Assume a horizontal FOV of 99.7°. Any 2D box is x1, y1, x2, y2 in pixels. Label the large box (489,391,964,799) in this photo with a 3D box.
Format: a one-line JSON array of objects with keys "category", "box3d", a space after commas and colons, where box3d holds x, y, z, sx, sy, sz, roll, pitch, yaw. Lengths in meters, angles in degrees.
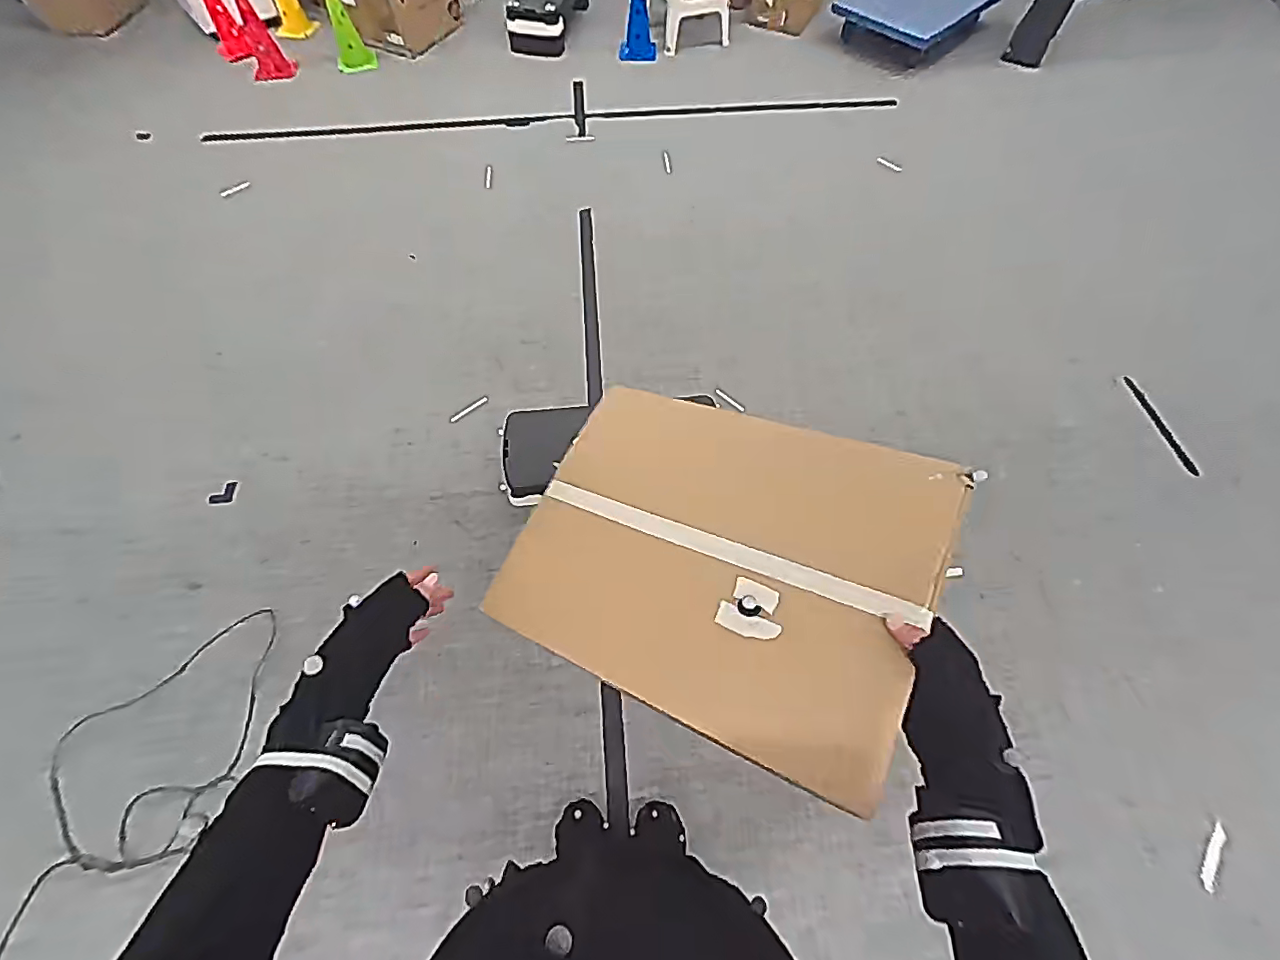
[{"category": "large box", "box3d": [0.110, 0.136, 0.666, 0.408, 0.320, 0.320, 18, 69, 26]}]
